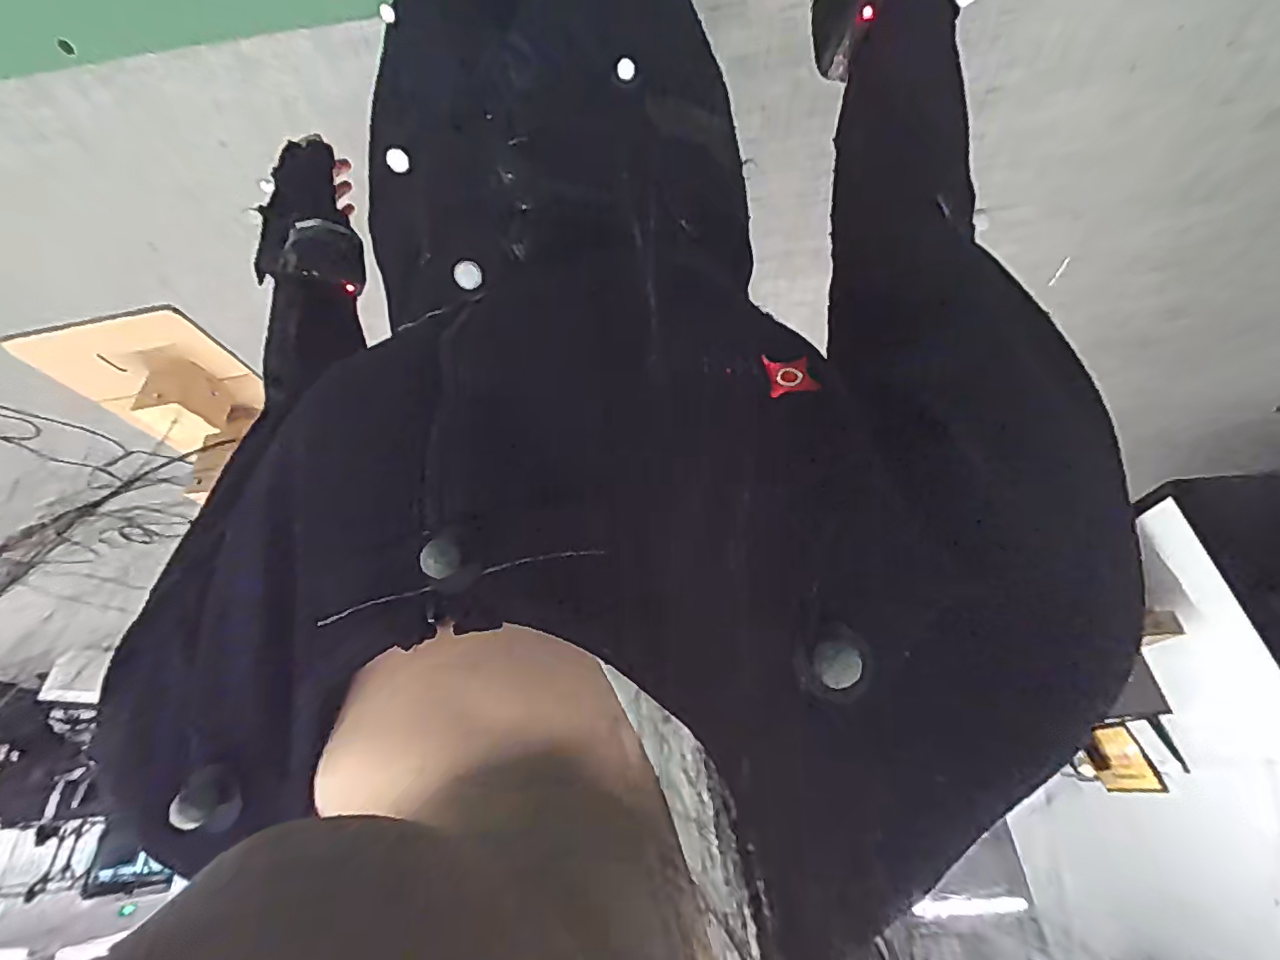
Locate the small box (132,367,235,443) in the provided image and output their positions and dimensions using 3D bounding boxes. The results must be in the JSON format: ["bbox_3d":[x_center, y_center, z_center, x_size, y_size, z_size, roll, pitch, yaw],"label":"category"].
[{"bbox_3d":[-1.495,-0.248,1.785,0.179,0.176,0.168,-10,149,7],"label":"small box"}]

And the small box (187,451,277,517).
[{"bbox_3d":[-1.433,0.013,1.913,0.179,0.176,0.168,-7,151,4],"label":"small box"}]
